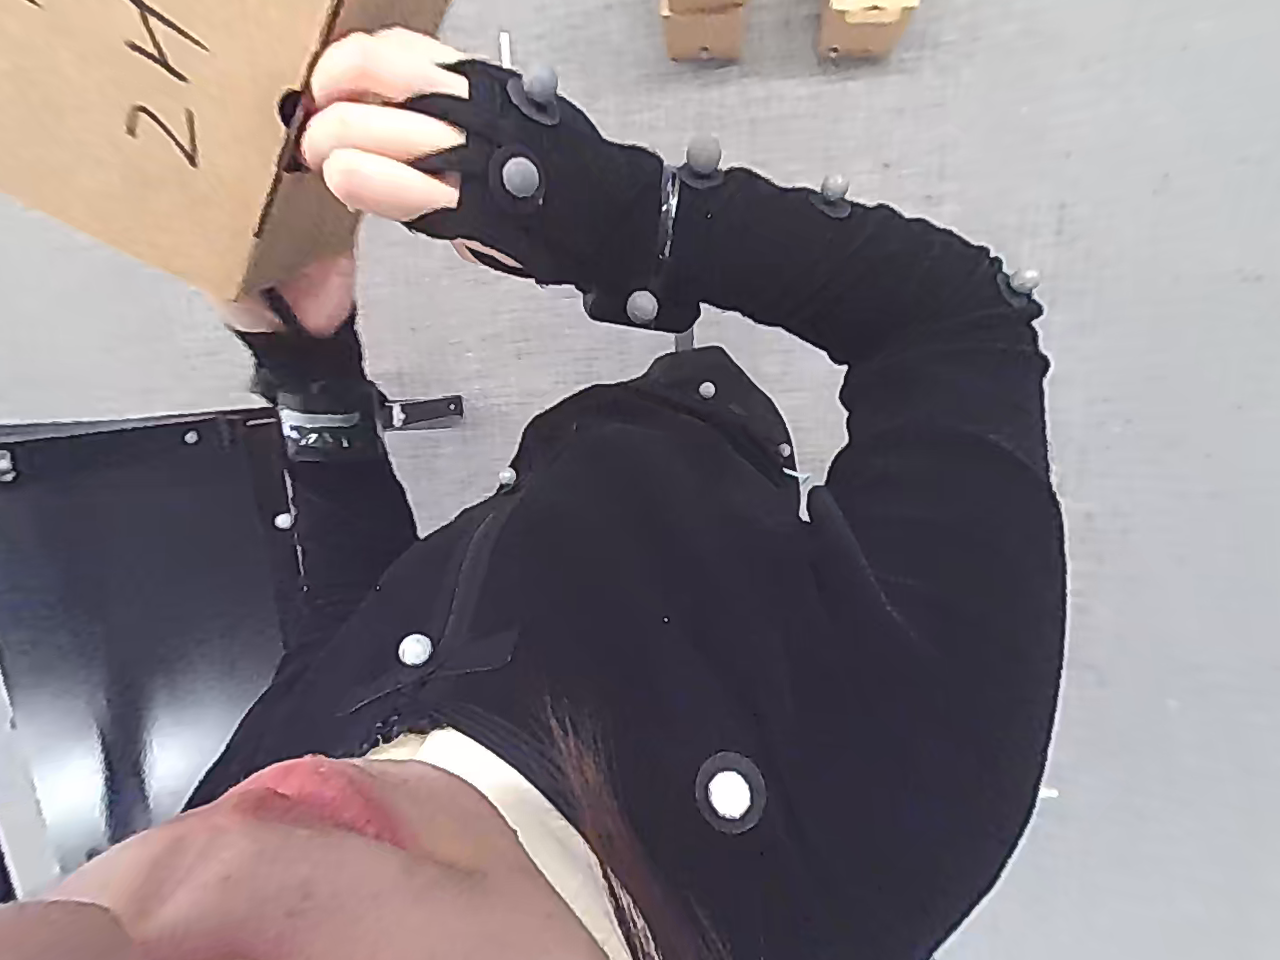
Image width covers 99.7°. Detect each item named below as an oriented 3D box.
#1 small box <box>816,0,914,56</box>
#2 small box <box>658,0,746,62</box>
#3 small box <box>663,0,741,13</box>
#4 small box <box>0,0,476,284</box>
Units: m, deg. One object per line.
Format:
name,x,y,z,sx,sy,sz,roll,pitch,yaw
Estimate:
small box,0.466,-1.015,1.116,0.168,0.176,0.179,4,101,7
small box,0.137,-1.034,1.159,0.179,0.176,0.168,4,102,6
small box,0.123,-1.013,0.996,0.179,0.176,0.168,0,101,9
small box,-0.194,-0.217,0.234,0.179,0.176,0.168,29,113,-23
